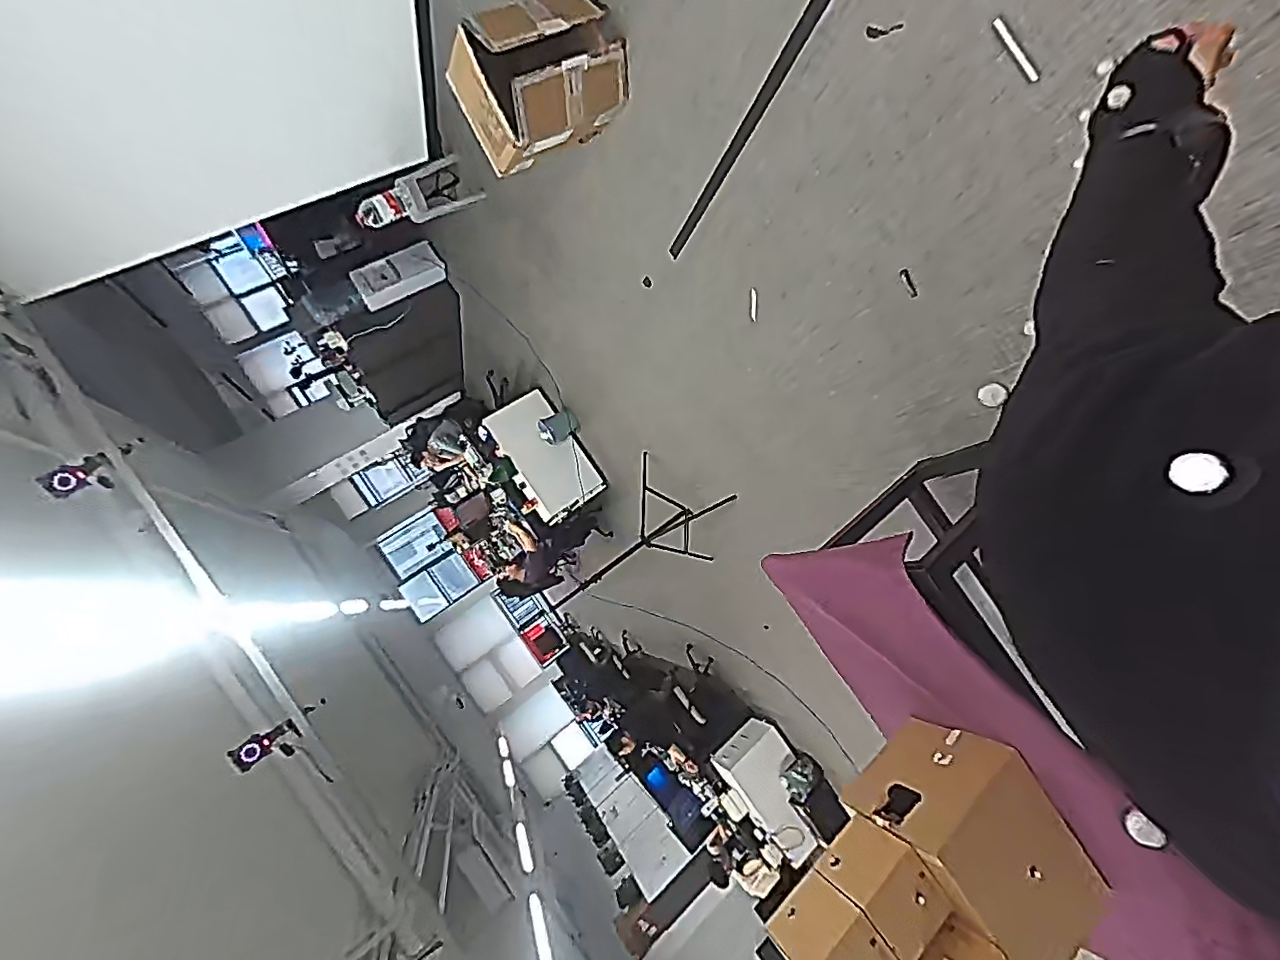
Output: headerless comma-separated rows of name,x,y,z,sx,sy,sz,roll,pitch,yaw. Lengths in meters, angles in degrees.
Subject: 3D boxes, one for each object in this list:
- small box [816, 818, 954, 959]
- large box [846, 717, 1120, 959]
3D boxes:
small box,0.532,0.885,1.179,0.168,0.176,0.179,53,160,-2
large box,0.784,0.843,1.267,0.408,0.320,0.320,54,162,-1
